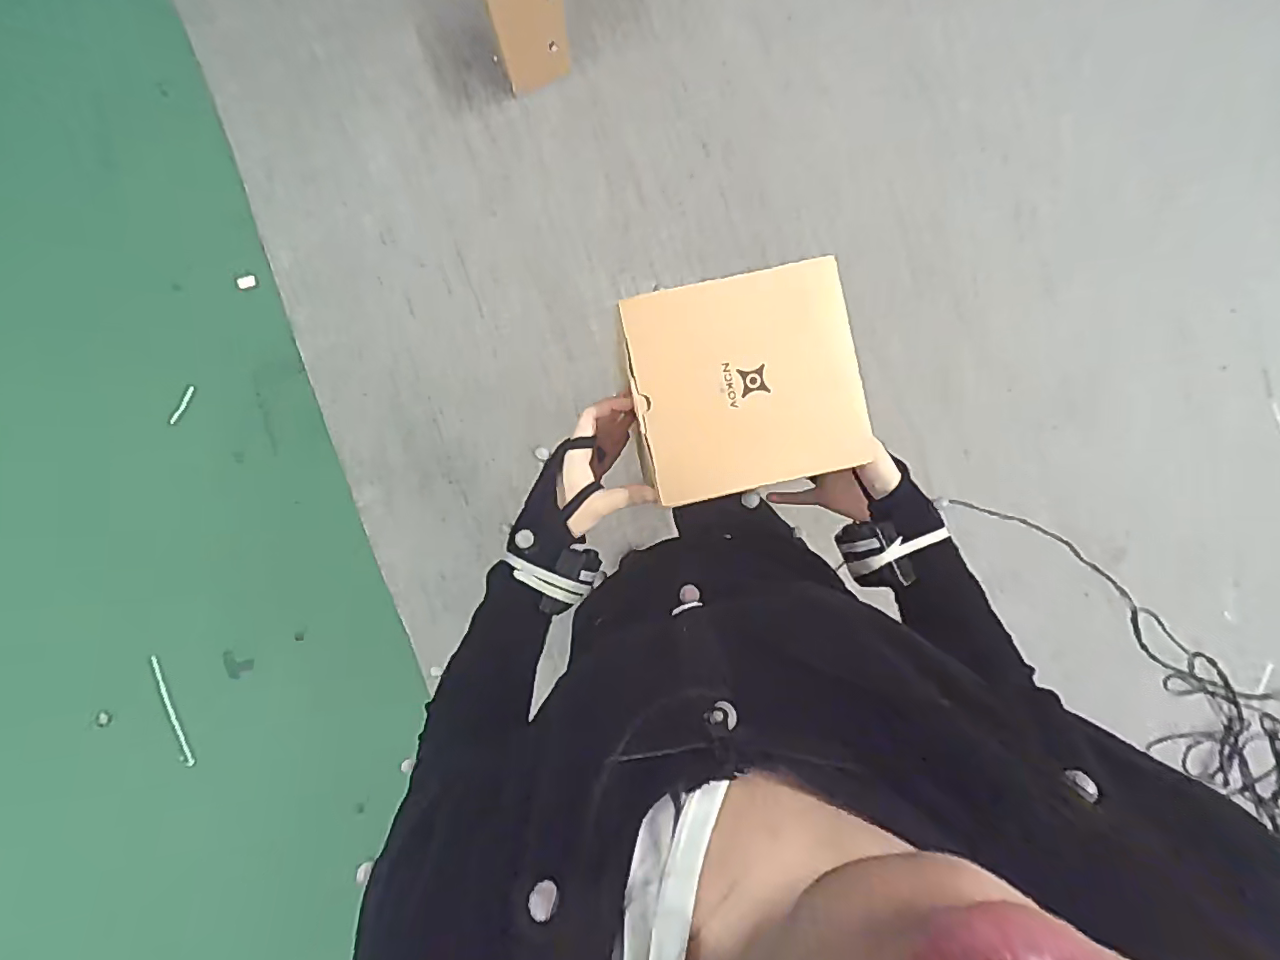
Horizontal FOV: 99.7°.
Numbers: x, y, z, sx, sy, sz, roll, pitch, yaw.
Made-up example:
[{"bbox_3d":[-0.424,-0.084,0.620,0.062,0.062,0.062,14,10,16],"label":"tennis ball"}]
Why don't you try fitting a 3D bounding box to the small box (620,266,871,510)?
[{"bbox_3d":[0.081,-0.075,0.505,0.179,0.176,0.168,-13,91,-1],"label":"small box"}]
